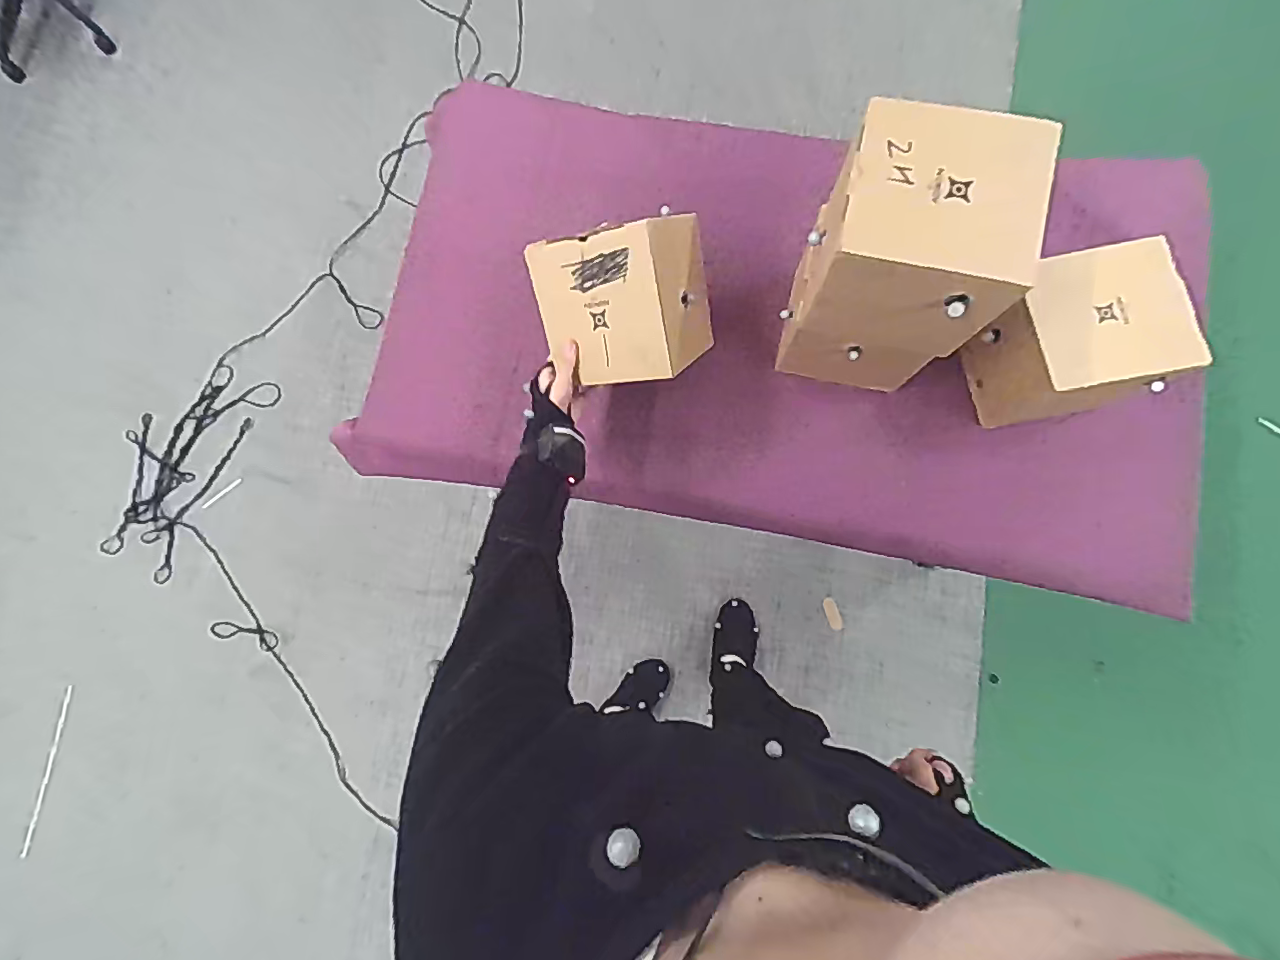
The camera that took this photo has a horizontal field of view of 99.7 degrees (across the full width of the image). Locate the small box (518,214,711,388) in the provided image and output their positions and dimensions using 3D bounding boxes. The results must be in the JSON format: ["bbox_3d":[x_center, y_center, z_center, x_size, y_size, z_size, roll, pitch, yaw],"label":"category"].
[{"bbox_3d":[-0.022,-0.231,0.695,0.168,0.176,0.179,-1,116,29],"label":"small box"}]

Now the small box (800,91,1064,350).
[{"bbox_3d":[0.285,-0.253,0.566,0.179,0.176,0.168,14,82,7],"label":"small box"}]

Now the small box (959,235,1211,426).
[{"bbox_3d":[0.546,-0.180,0.700,0.179,0.176,0.168,-10,79,3],"label":"small box"}]
